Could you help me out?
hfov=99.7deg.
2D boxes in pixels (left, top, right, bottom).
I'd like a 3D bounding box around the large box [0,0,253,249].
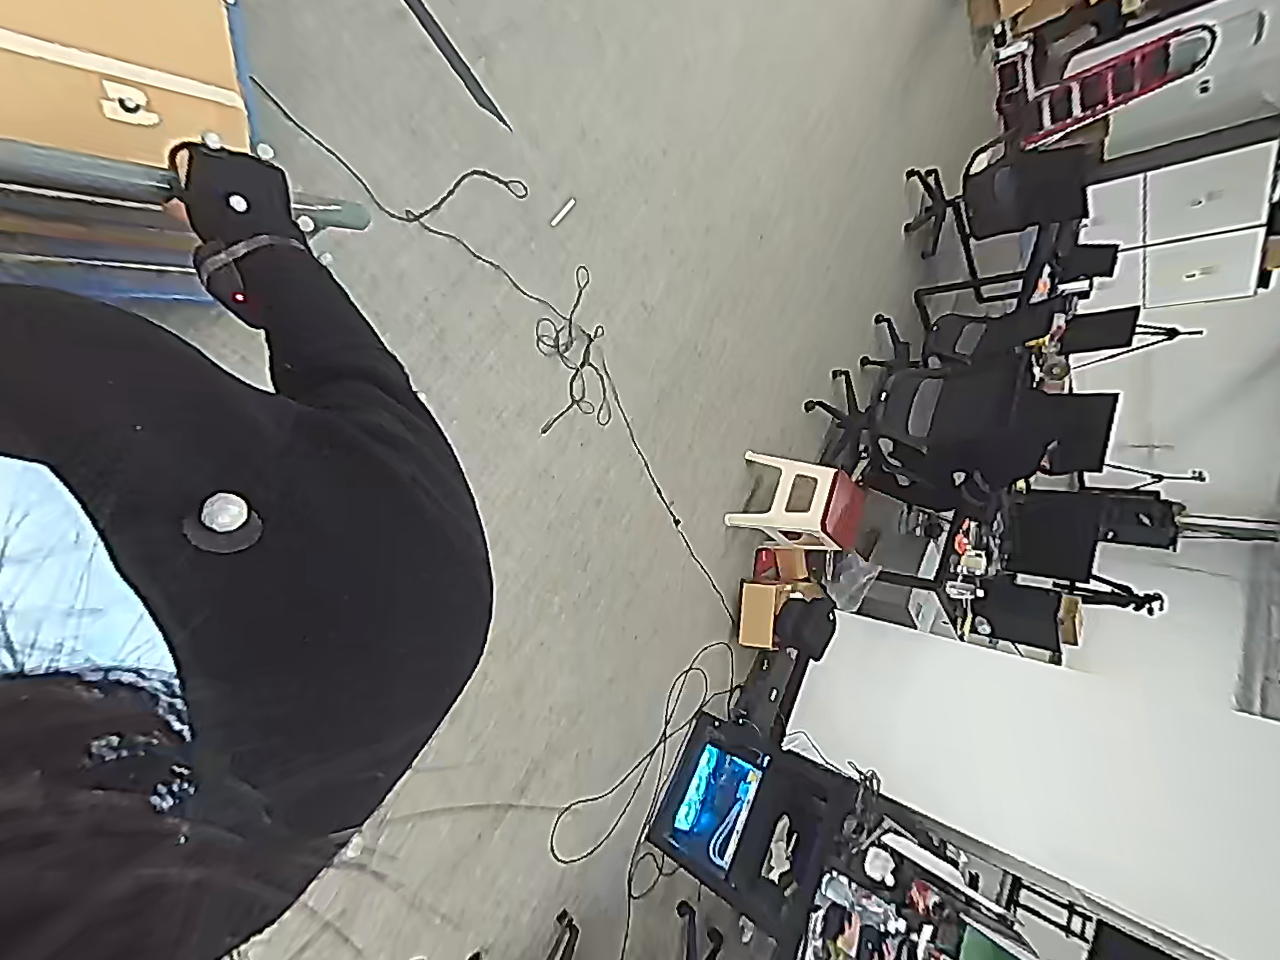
[{"bbox_3d":[-0.871,-0.559,0.801,0.408,0.320,0.320,-13,104,-45],"label":"large box"}]
